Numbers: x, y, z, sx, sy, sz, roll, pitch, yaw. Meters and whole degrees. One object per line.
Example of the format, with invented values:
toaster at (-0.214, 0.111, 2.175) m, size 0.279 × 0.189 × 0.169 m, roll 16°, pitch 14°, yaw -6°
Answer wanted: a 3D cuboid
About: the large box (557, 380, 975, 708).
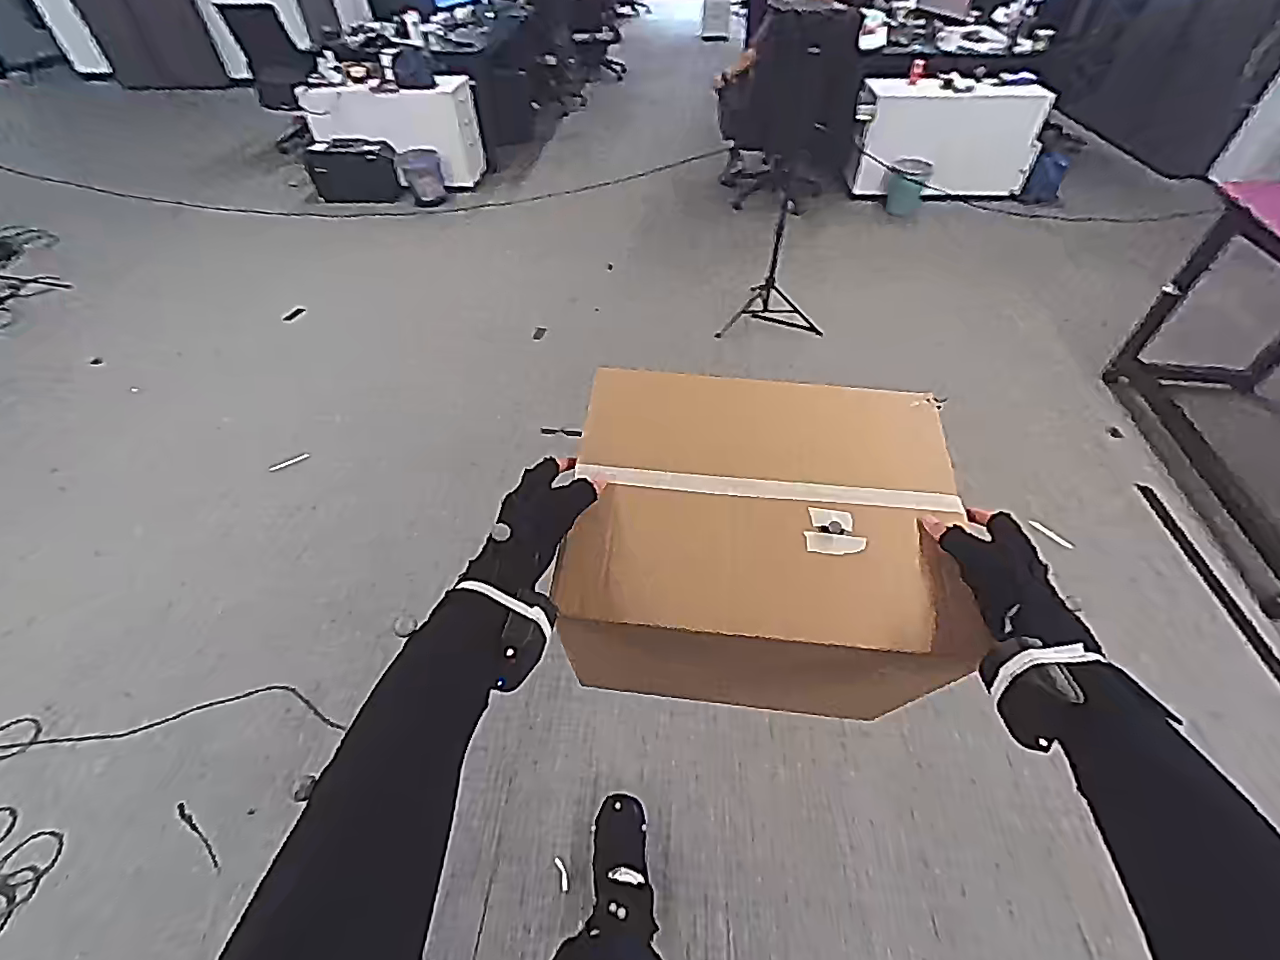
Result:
large box at (0.126, 0.095, 0.713) m, size 0.408 × 0.320 × 0.320 m, roll 5°, pitch 58°, yaw 3°
